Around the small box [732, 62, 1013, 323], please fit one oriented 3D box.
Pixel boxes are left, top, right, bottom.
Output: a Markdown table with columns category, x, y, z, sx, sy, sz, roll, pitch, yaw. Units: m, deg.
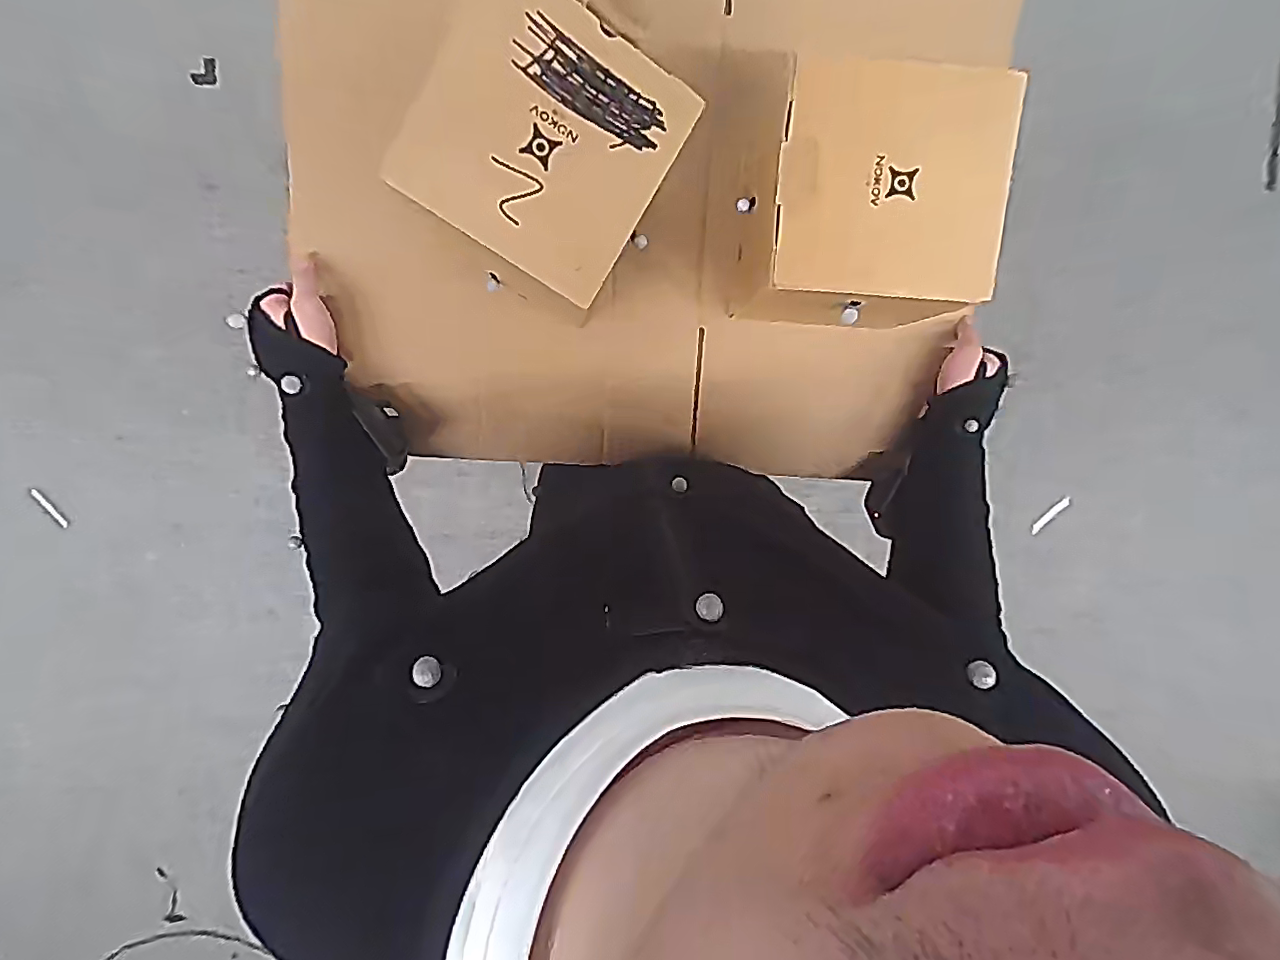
| category | x | y | z | sx | sy | sz | roll | pitch | yaw |
| --- | --- | --- | --- | --- | --- | --- | --- | --- | --- |
| small box | 0.194 | -0.244 | 0.504 | 0.179 | 0.176 | 0.168 | 3 | 98 | -1 |
